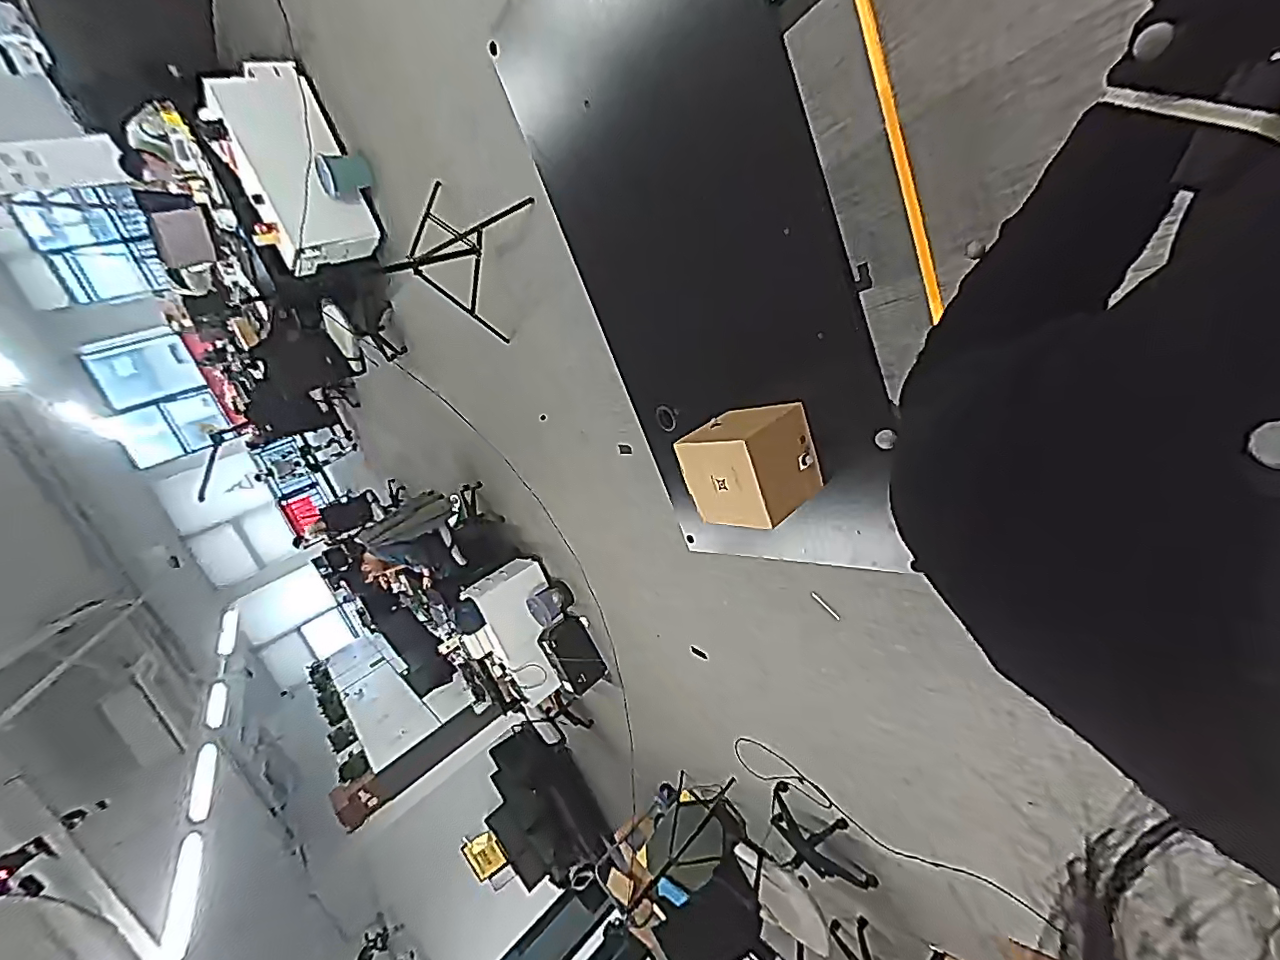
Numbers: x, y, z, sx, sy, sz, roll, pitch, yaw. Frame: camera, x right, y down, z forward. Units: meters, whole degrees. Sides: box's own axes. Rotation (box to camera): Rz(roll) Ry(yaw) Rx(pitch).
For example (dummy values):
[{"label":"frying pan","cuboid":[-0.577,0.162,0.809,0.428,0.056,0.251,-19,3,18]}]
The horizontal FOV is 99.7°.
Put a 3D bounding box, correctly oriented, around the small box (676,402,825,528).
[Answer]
[{"label":"small box","cuboid":[0.201,-0.031,0.979,0.179,0.176,0.168,0,117,53]}]
